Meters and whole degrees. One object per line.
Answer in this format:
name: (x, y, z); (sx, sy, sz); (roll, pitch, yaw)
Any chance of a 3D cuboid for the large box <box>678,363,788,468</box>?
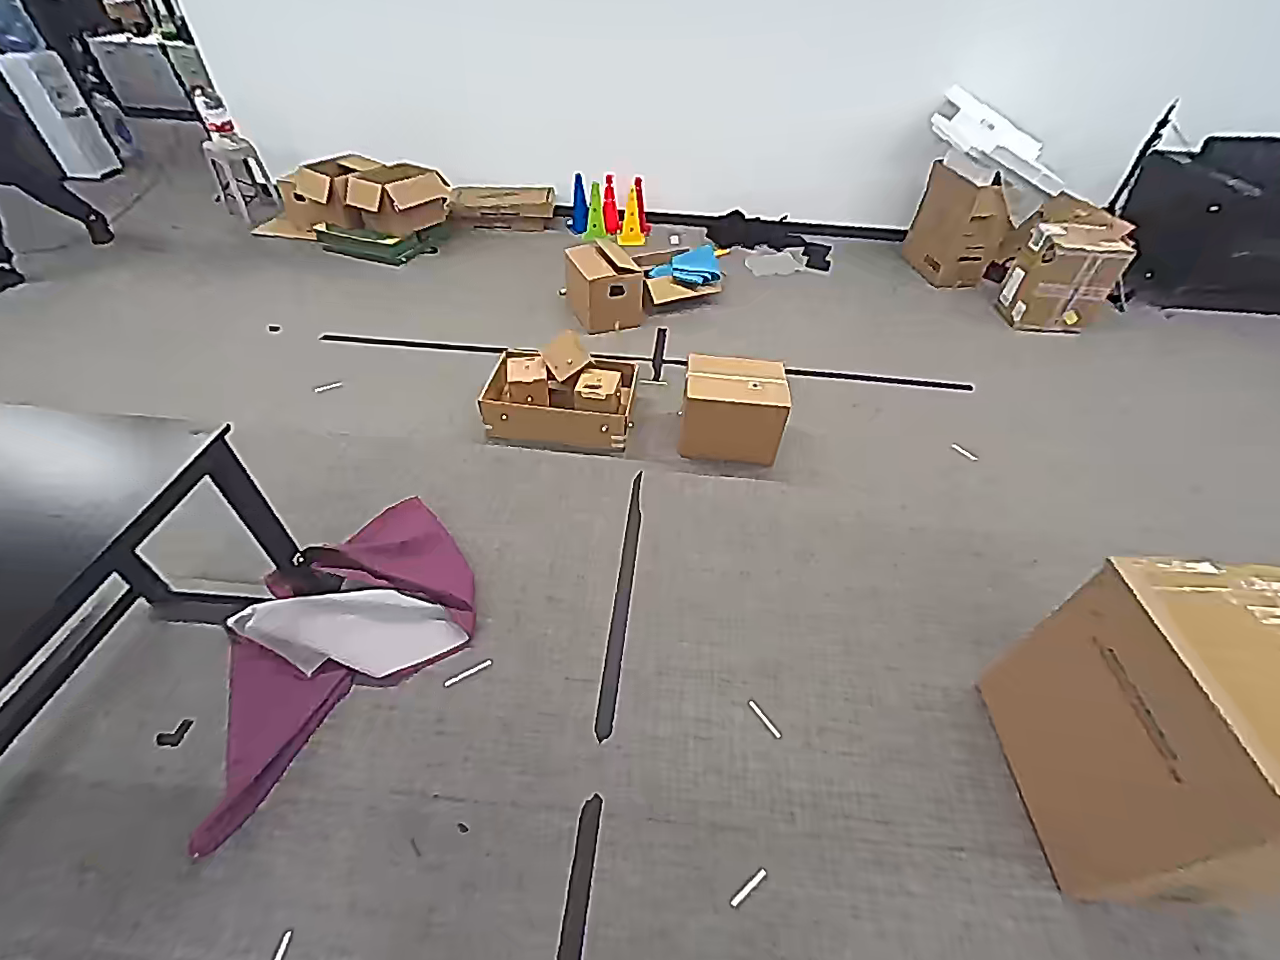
large box: (0.373, -0.271, 2.284); (0.408, 0.320, 0.320); (5, 45, 1)
